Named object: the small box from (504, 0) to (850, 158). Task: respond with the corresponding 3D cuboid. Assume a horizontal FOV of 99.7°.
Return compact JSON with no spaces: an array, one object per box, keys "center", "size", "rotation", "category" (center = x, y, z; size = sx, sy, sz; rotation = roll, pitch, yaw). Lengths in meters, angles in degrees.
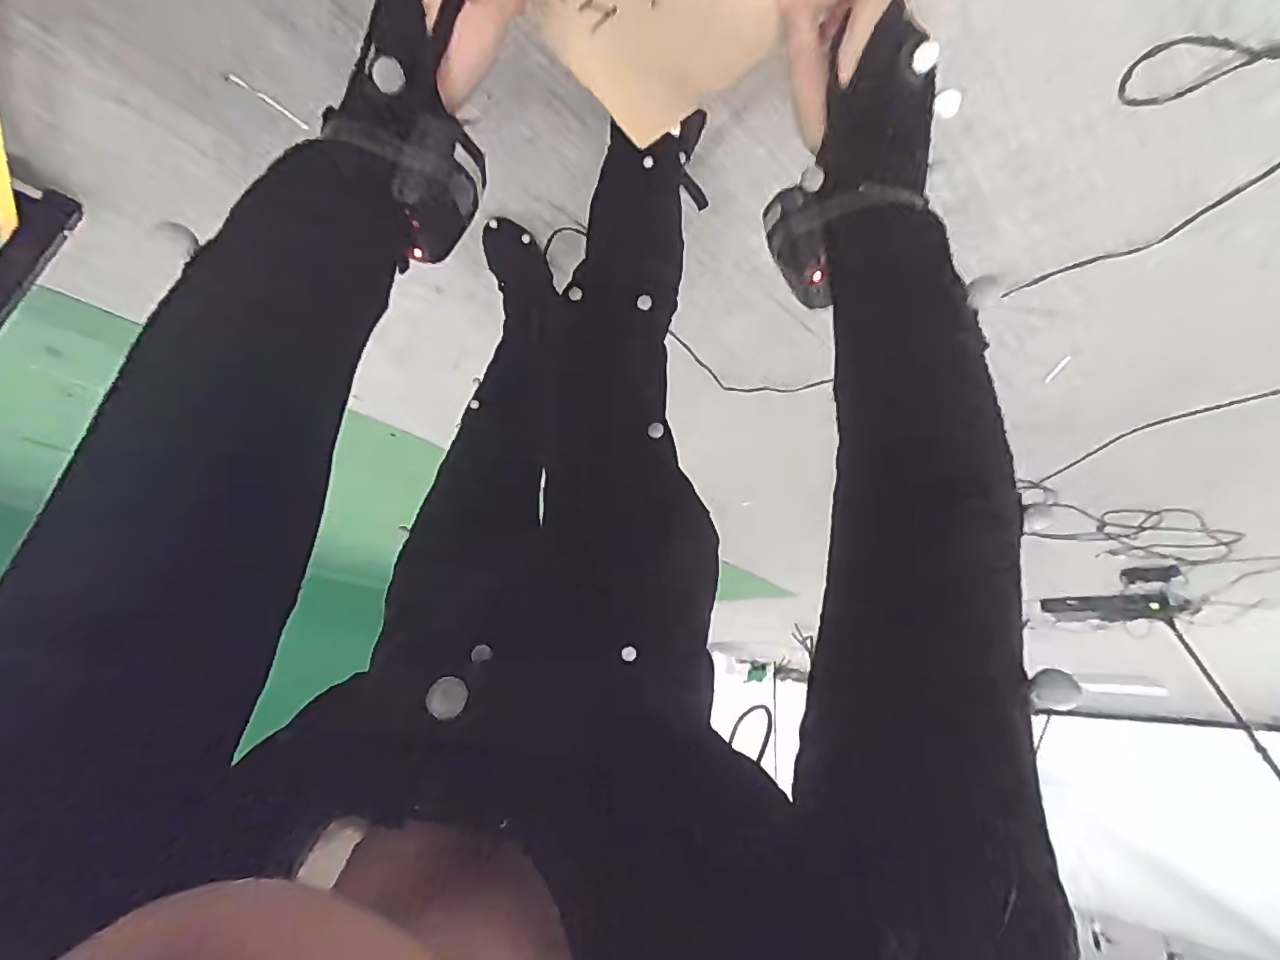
[{"center":[0.025,-0.372,0.352],"size":[0.179,0.176,0.168],"rotation":[-10,148,44],"category":"small box"}]
